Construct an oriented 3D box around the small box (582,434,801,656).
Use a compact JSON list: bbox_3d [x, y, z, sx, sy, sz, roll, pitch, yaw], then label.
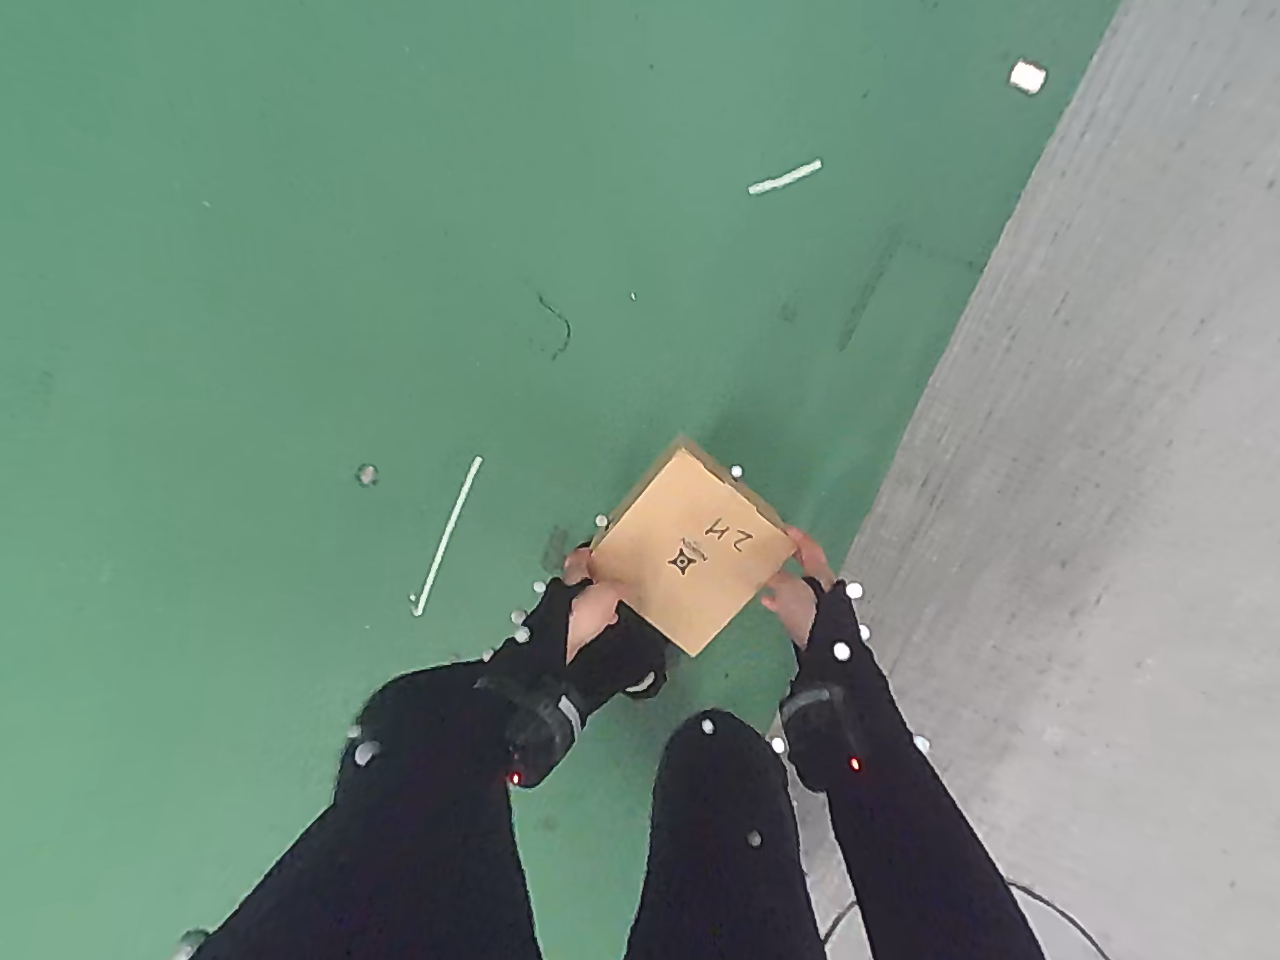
[{"bbox_3d":[0.058,0.064,0.644,0.168,0.176,0.179,40,99,-4],"label":"small box"}]
